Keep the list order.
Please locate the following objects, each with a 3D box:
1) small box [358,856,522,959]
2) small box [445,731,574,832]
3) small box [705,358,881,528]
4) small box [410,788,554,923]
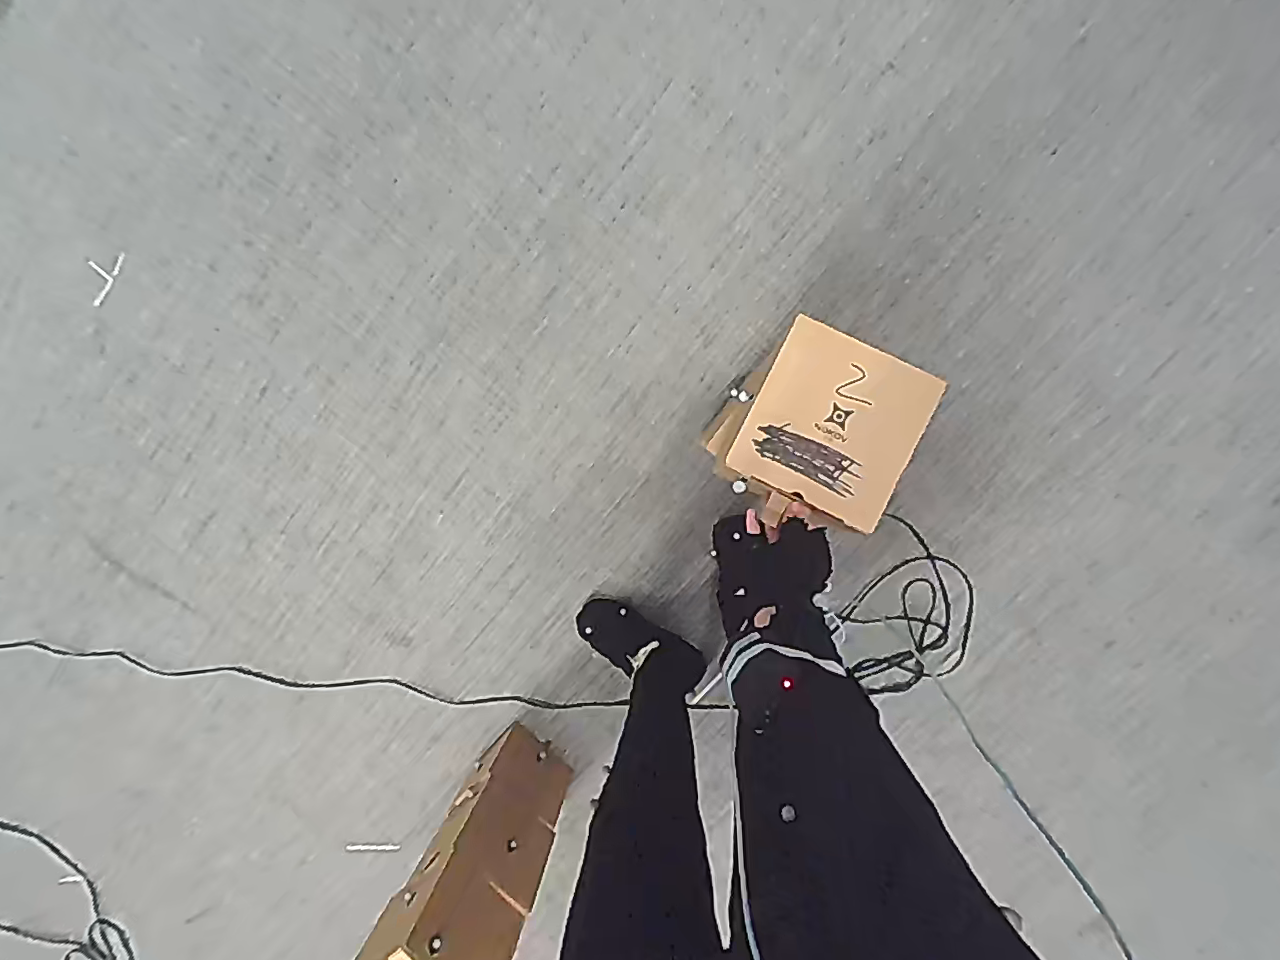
[{"bbox_3d":[-0.312,0.740,0.833,0.168,0.176,0.179,-42,92,11],"label":"small box"},{"bbox_3d":[-0.269,0.672,1.152,0.179,0.176,0.168,40,105,0],"label":"small box"},{"bbox_3d":[0.212,-0.058,0.805,0.179,0.176,0.168,38,101,-1],"label":"small box"},{"bbox_3d":[-0.287,0.707,0.990,0.179,0.176,0.168,42,102,-3],"label":"small box"}]
